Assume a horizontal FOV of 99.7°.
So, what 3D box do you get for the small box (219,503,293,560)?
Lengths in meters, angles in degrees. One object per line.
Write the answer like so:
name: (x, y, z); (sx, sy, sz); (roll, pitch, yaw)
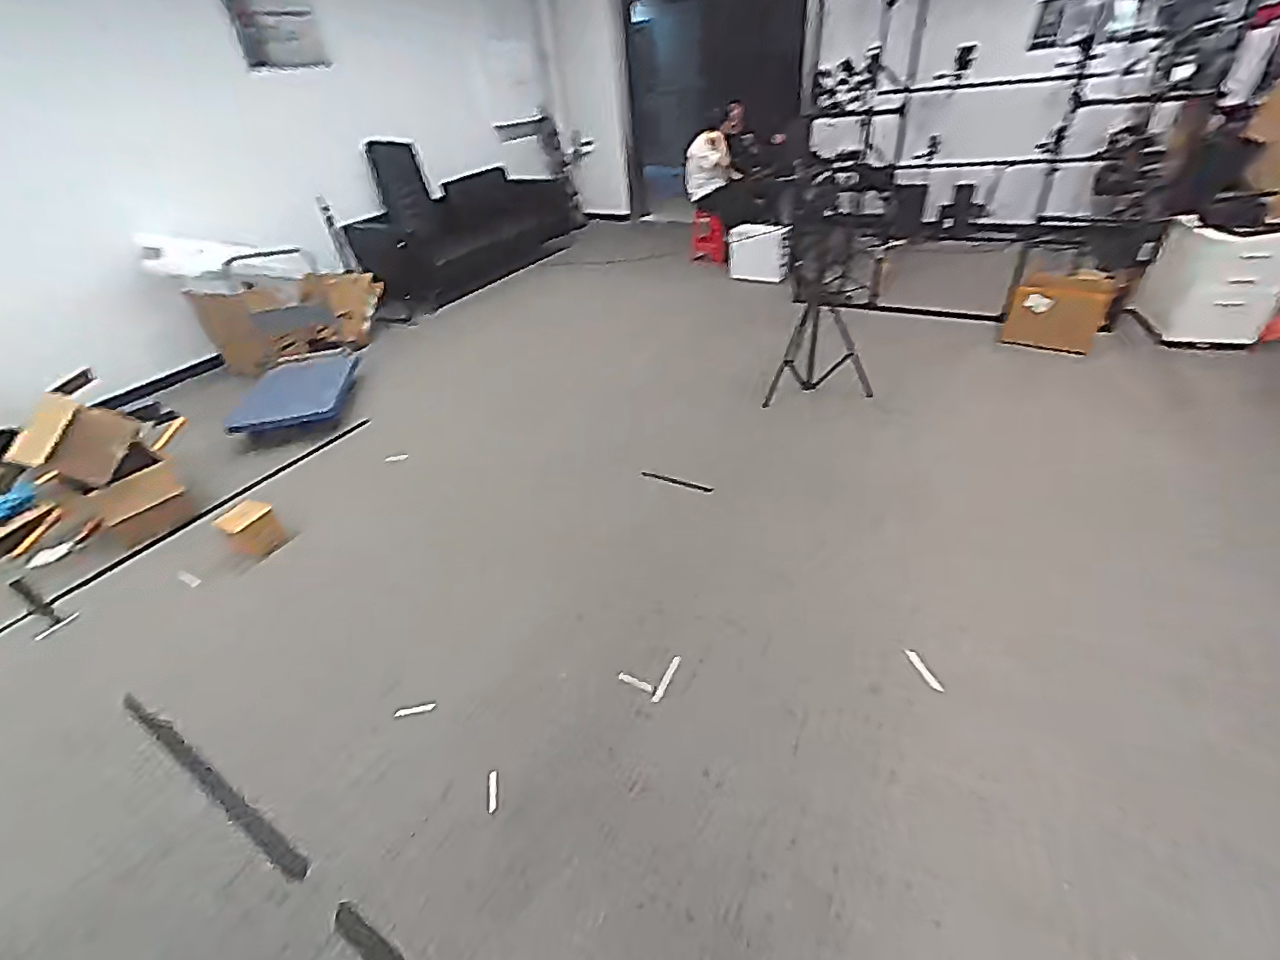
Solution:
small box: (-1.687, 0.231, 2.387); (0.179, 0.176, 0.168); (10, 40, 22)
